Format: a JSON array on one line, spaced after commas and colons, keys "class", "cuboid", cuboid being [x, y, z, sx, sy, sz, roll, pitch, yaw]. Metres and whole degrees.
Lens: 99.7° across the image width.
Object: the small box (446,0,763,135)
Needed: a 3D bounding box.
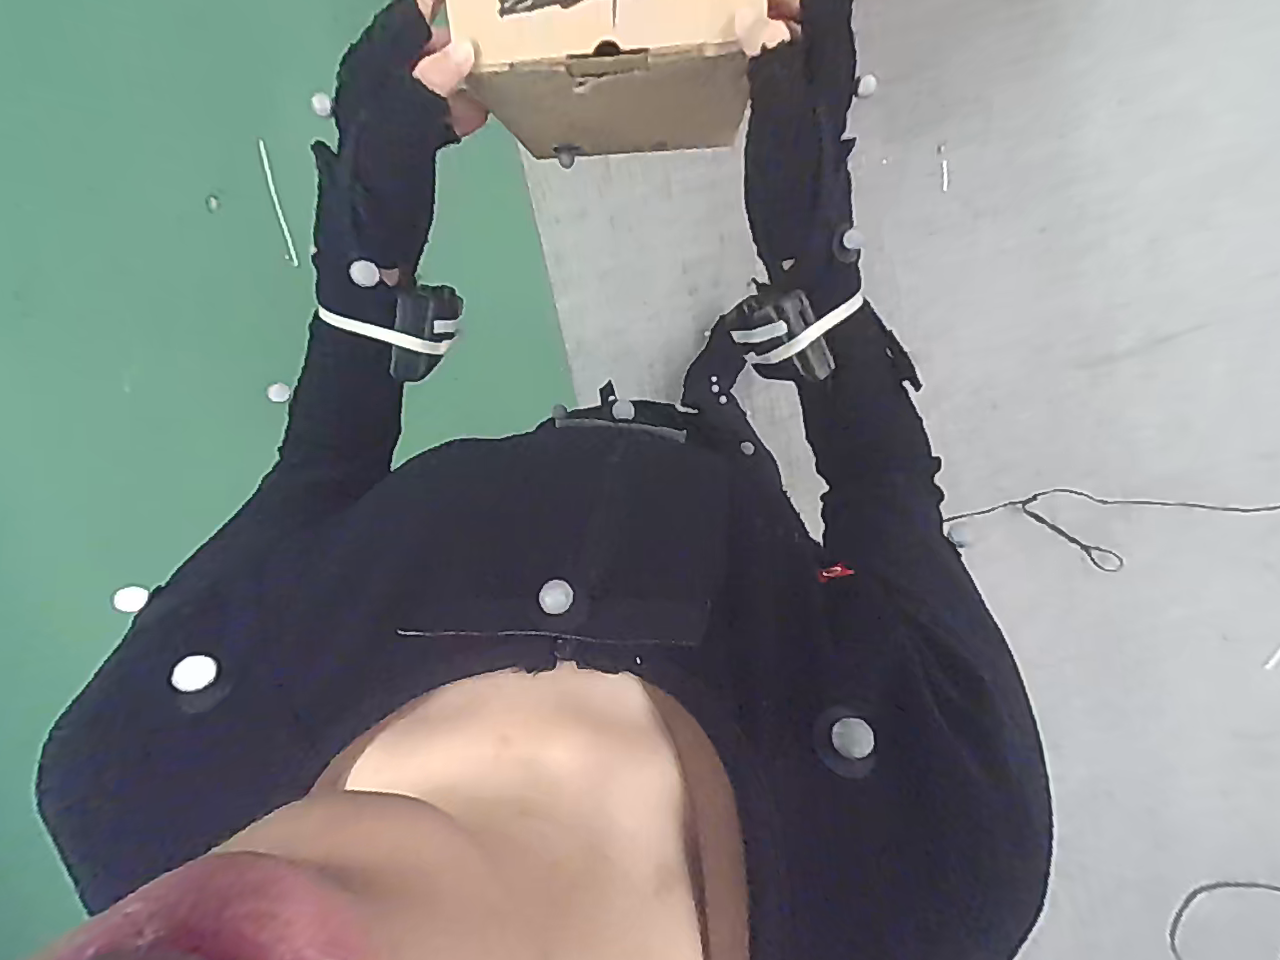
[{"class": "small box", "cuboid": [-0.014, -0.332, 0.328, 0.168, 0.176, 0.179, -1, 105, 5]}]
